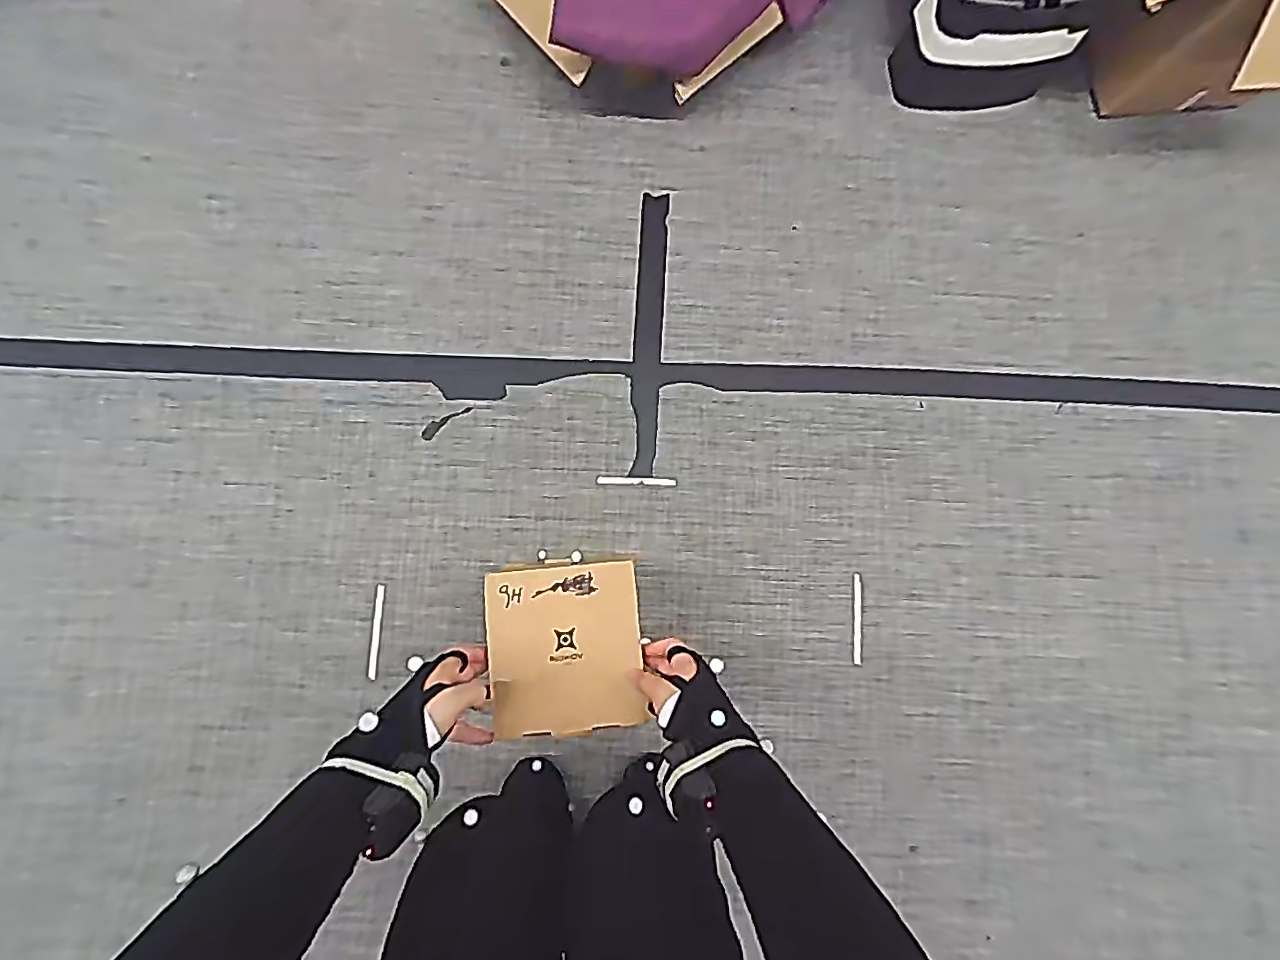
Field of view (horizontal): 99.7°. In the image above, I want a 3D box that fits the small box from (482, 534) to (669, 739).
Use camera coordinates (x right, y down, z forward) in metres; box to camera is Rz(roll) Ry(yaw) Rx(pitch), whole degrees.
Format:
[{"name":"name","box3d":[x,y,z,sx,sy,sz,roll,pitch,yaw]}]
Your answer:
[{"name":"small box","box3d":[-0.062,0.151,0.580,0.168,0.176,0.179,-6,84,-2]}]
